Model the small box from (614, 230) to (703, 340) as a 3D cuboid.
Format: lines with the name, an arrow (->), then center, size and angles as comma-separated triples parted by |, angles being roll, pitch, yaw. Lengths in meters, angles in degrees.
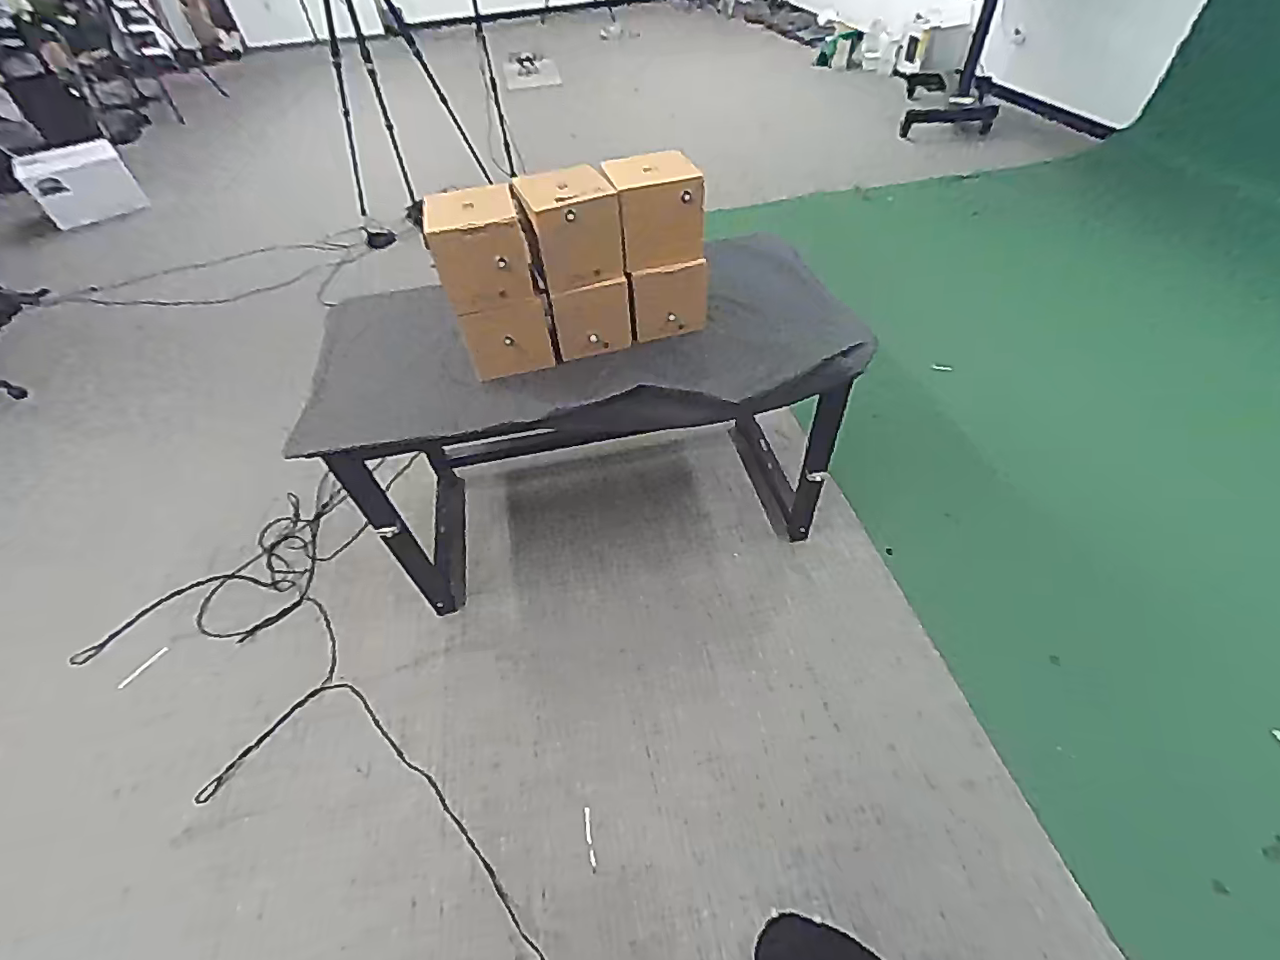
small box -> 0.041, -0.452, 1.256 | 0.168, 0.176, 0.179 | -14, 49, -6
